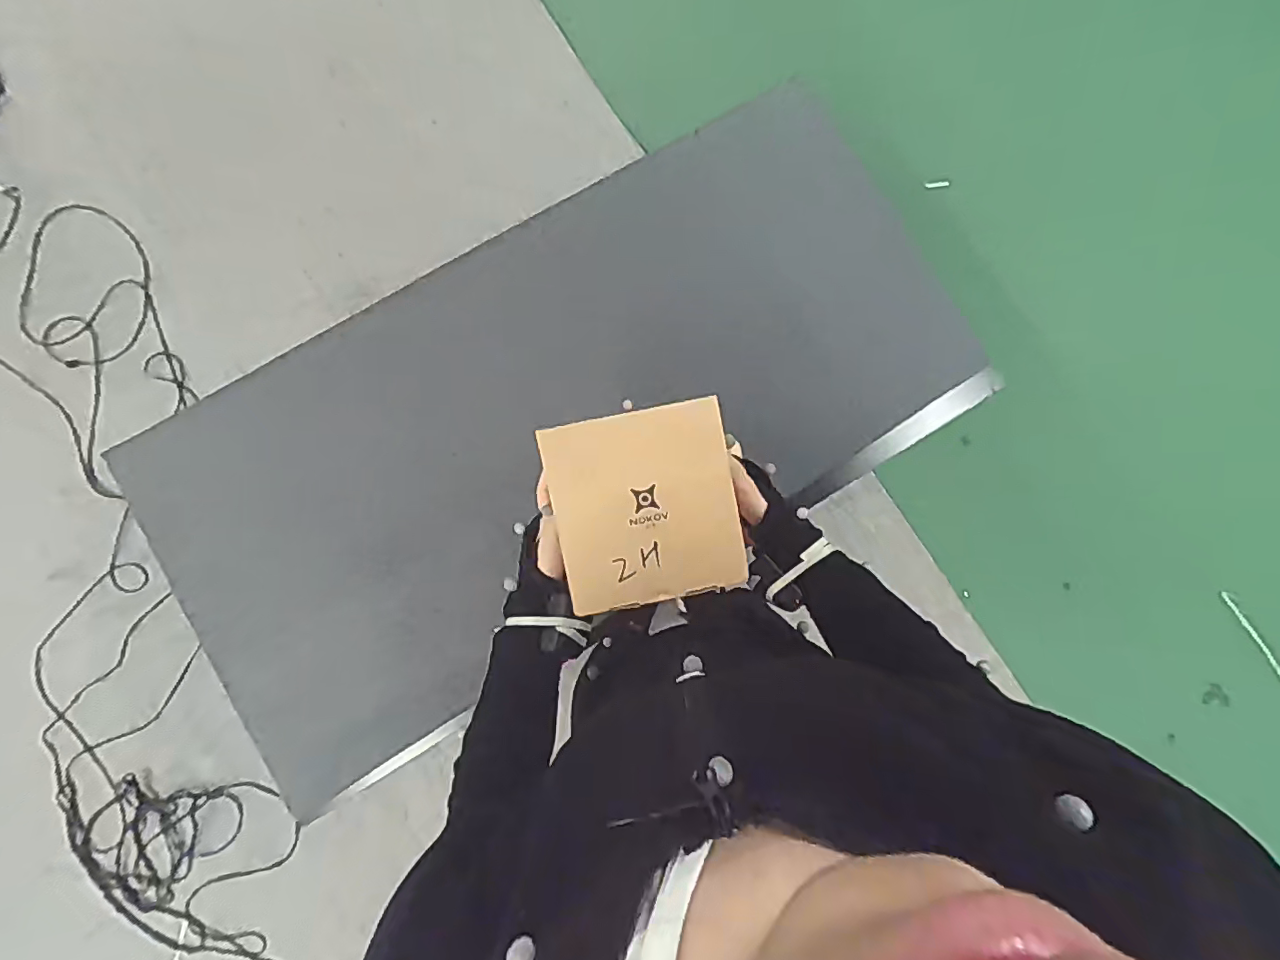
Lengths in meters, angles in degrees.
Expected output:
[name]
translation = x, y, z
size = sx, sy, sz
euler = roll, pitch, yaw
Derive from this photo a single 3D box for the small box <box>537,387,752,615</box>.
[small box]
translation = 0.001, 0.015, 0.544
size = 0.168, 0.176, 0.179
euler = -10, 93, -2
